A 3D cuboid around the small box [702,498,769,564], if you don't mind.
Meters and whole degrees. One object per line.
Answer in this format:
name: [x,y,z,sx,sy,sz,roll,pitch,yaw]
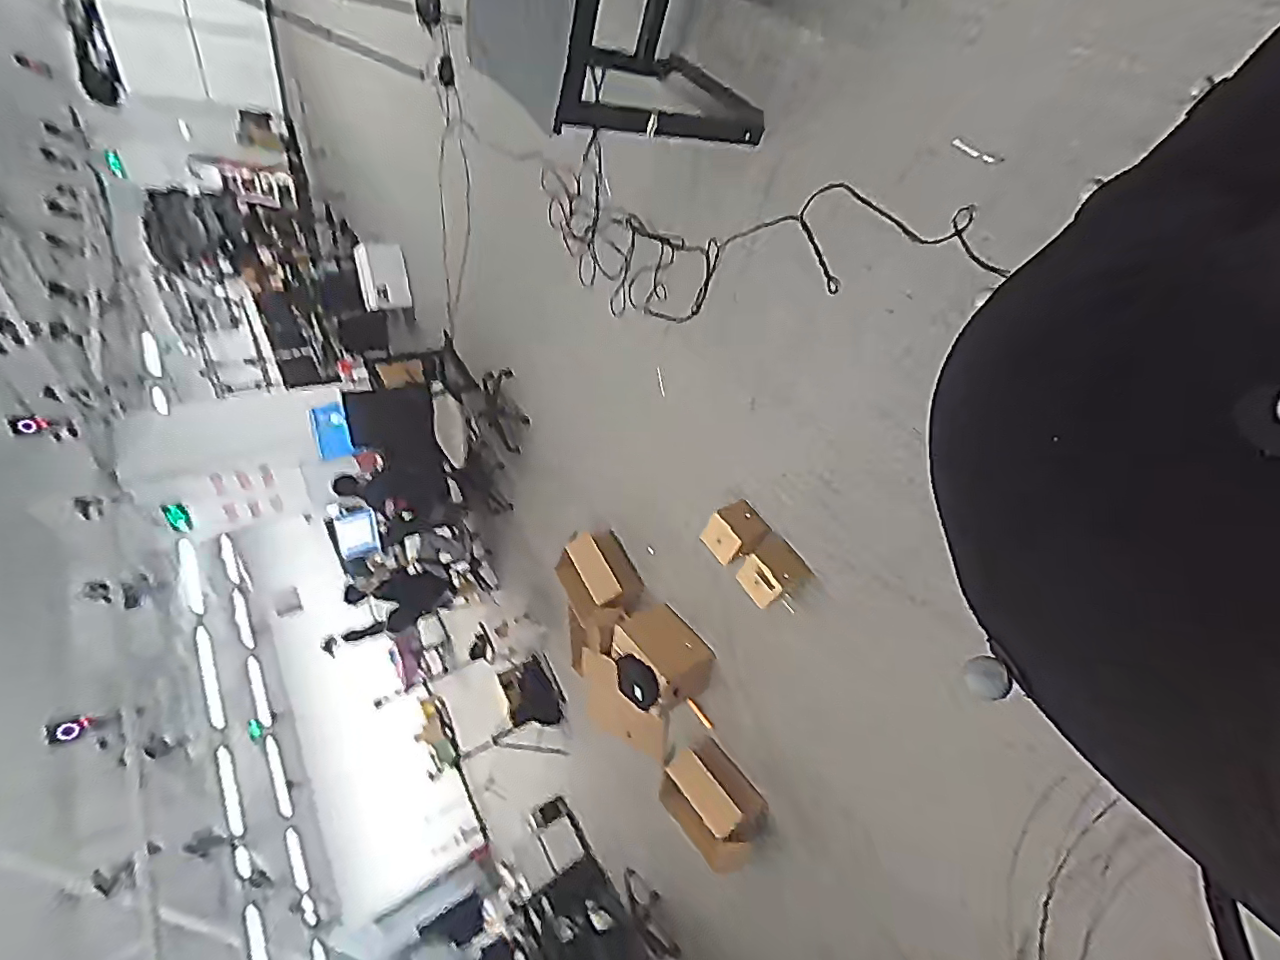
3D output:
small box: [0.384,0.201,2.163,0.168,0.176,0.179,52,142,28]
